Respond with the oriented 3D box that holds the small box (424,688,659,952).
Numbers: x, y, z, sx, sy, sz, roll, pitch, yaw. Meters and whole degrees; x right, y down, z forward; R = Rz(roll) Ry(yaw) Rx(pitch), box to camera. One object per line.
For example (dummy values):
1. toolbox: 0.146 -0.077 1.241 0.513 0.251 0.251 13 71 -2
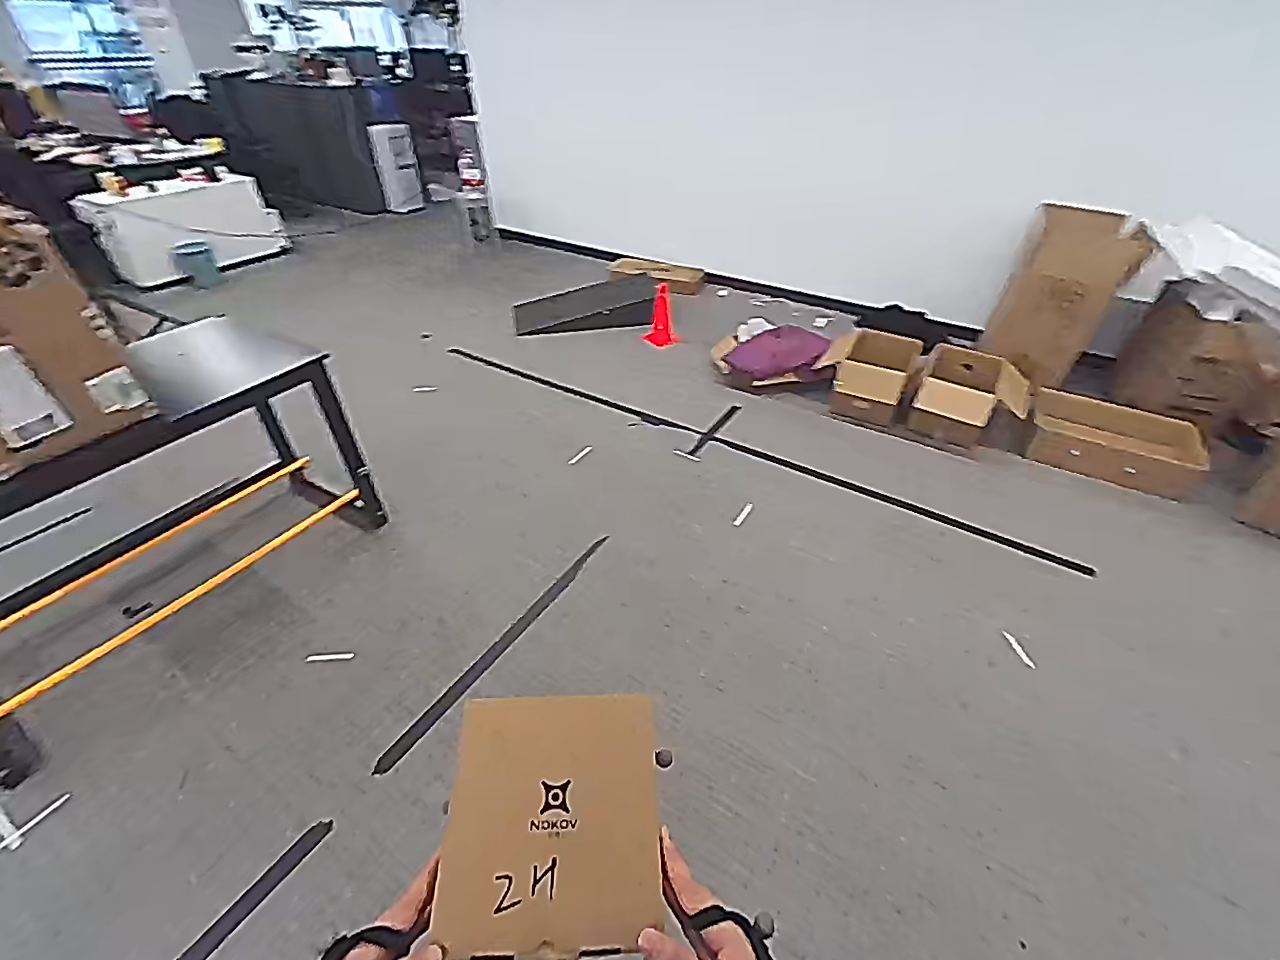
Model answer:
1. small box: -0.074 0.306 0.487 0.168 0.176 0.179 -2 51 -3
